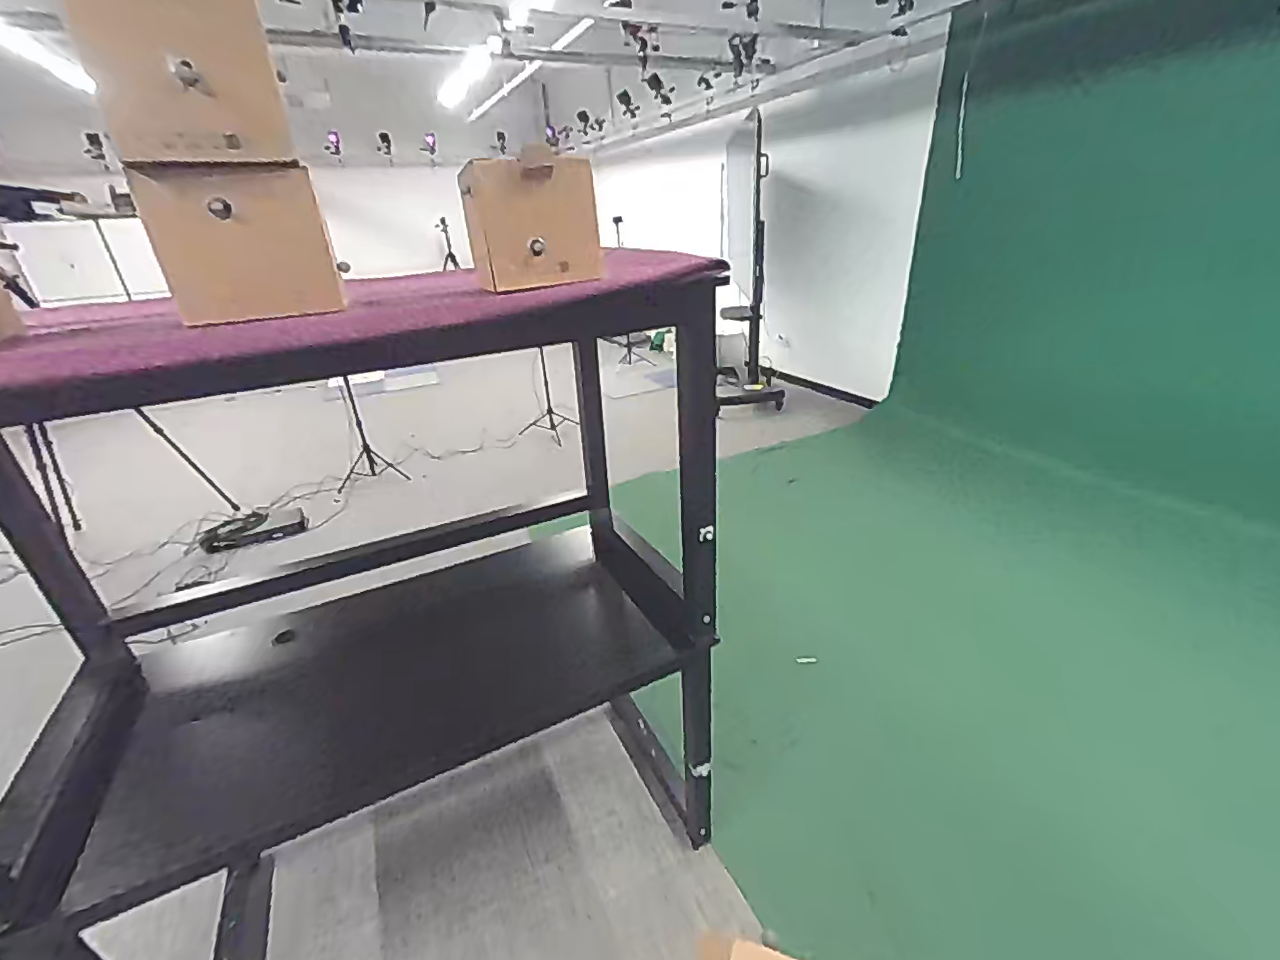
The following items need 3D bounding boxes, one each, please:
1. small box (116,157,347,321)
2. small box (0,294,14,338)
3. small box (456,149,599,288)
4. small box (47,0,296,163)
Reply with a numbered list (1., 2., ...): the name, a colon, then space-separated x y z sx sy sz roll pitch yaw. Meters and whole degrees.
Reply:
1. small box: -0.497 -0.303 0.692 0.179 0.176 0.168 -14 27 -22
2. small box: -0.792 -0.204 0.531 0.168 0.176 0.179 -18 31 -25
3. small box: -0.172 -0.389 0.821 0.168 0.176 0.179 -15 26 -19
4. small box: -0.508 -0.446 0.612 0.168 0.176 0.179 -17 28 -26
